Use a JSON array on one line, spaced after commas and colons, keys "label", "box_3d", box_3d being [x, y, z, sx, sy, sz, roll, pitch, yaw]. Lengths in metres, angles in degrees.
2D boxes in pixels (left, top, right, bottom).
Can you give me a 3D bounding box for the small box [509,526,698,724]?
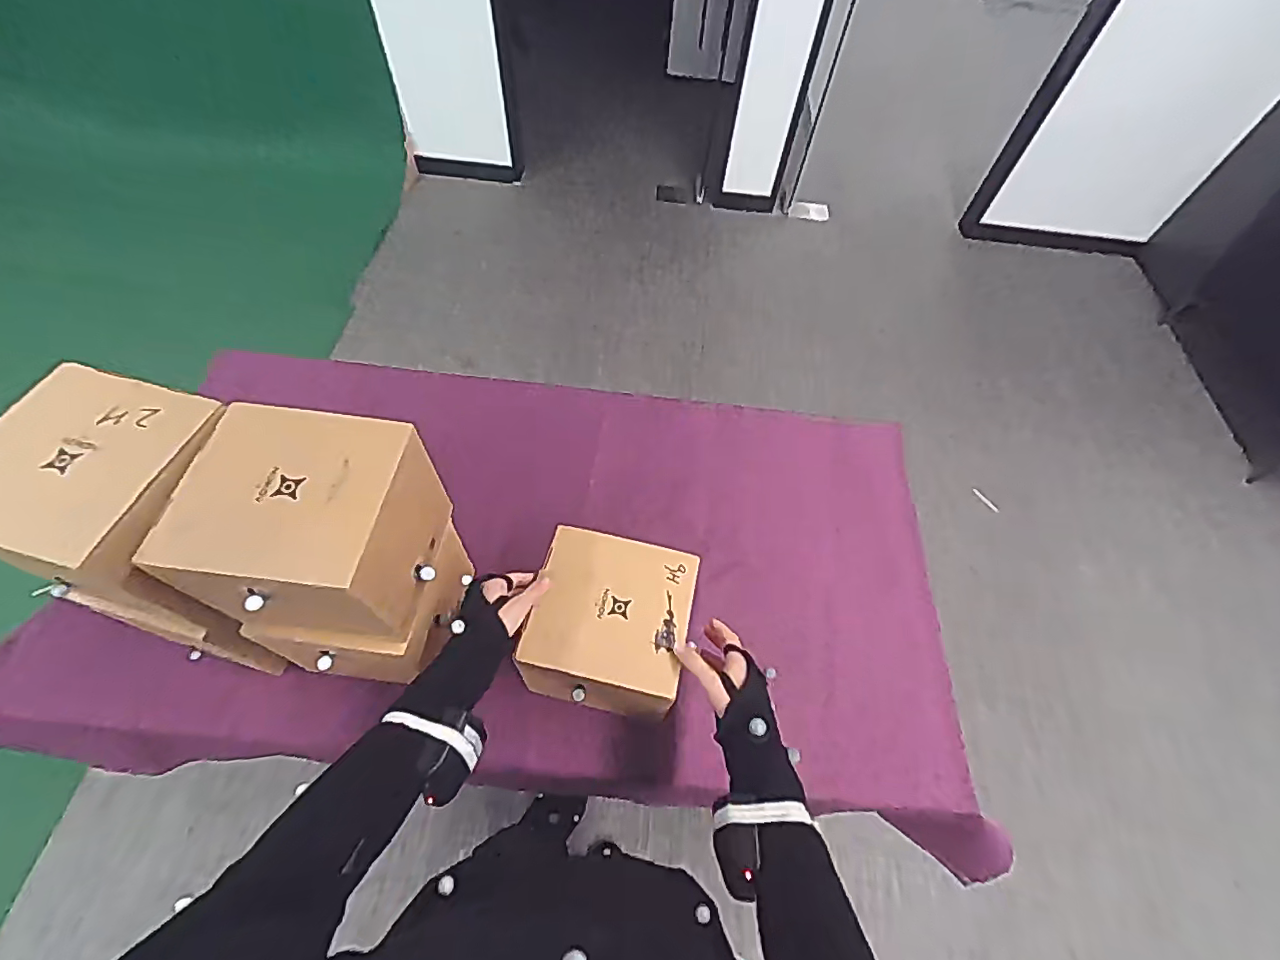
[{"label": "small box", "box_3d": [-0.039, 0.182, 0.659, 0.179, 0.176, 0.168, 13, 57, 4]}]
